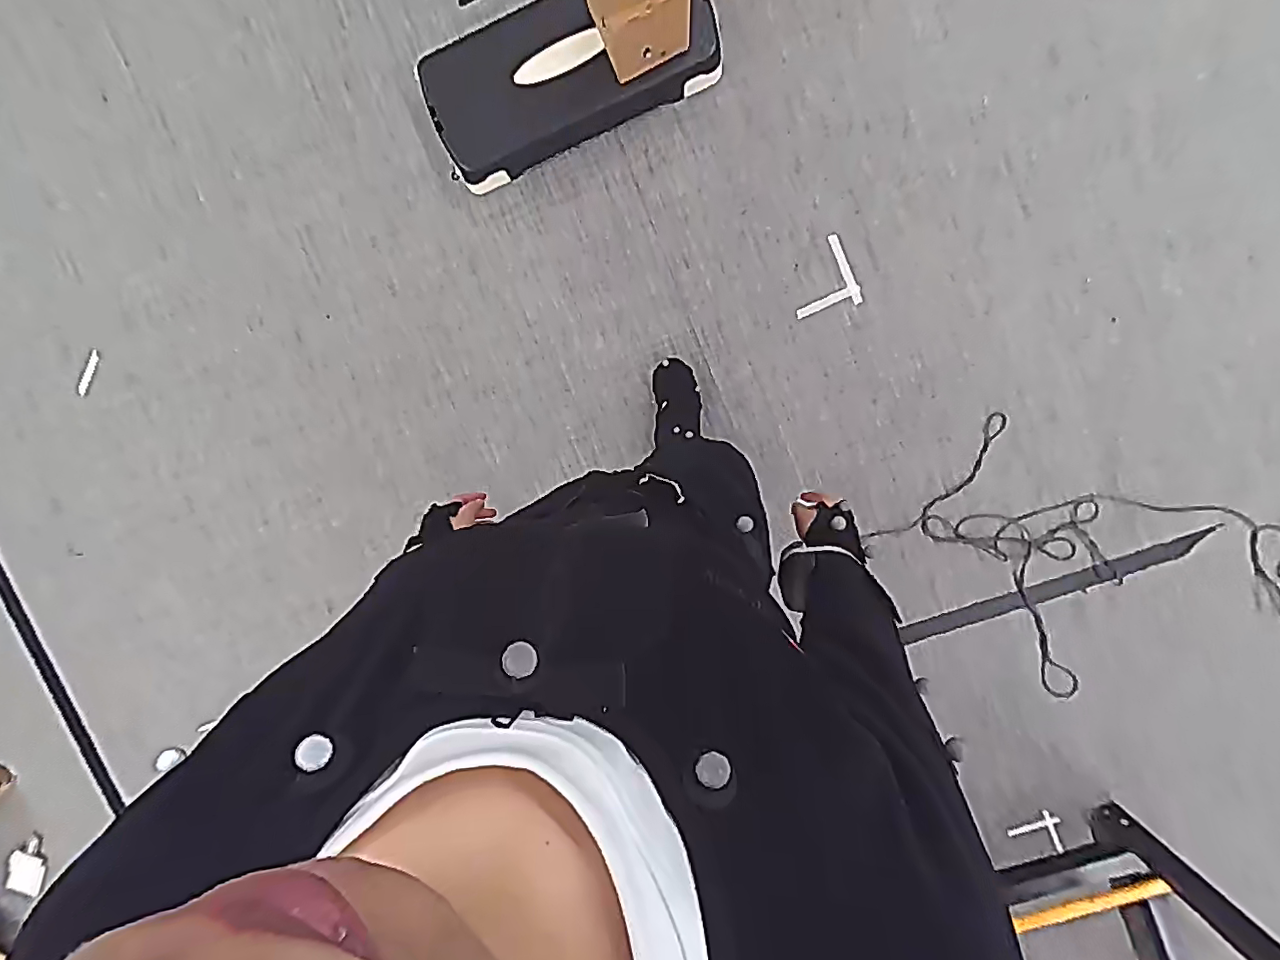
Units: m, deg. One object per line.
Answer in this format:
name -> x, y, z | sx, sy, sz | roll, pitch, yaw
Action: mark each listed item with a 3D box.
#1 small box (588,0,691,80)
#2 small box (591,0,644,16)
small box -> -0.009, -0.971, 1.092 | 0.168, 0.176, 0.179 | -24, 95, 6
small box -> -0.028, -0.964, 0.928 | 0.179, 0.176, 0.168 | -18, 95, 6
